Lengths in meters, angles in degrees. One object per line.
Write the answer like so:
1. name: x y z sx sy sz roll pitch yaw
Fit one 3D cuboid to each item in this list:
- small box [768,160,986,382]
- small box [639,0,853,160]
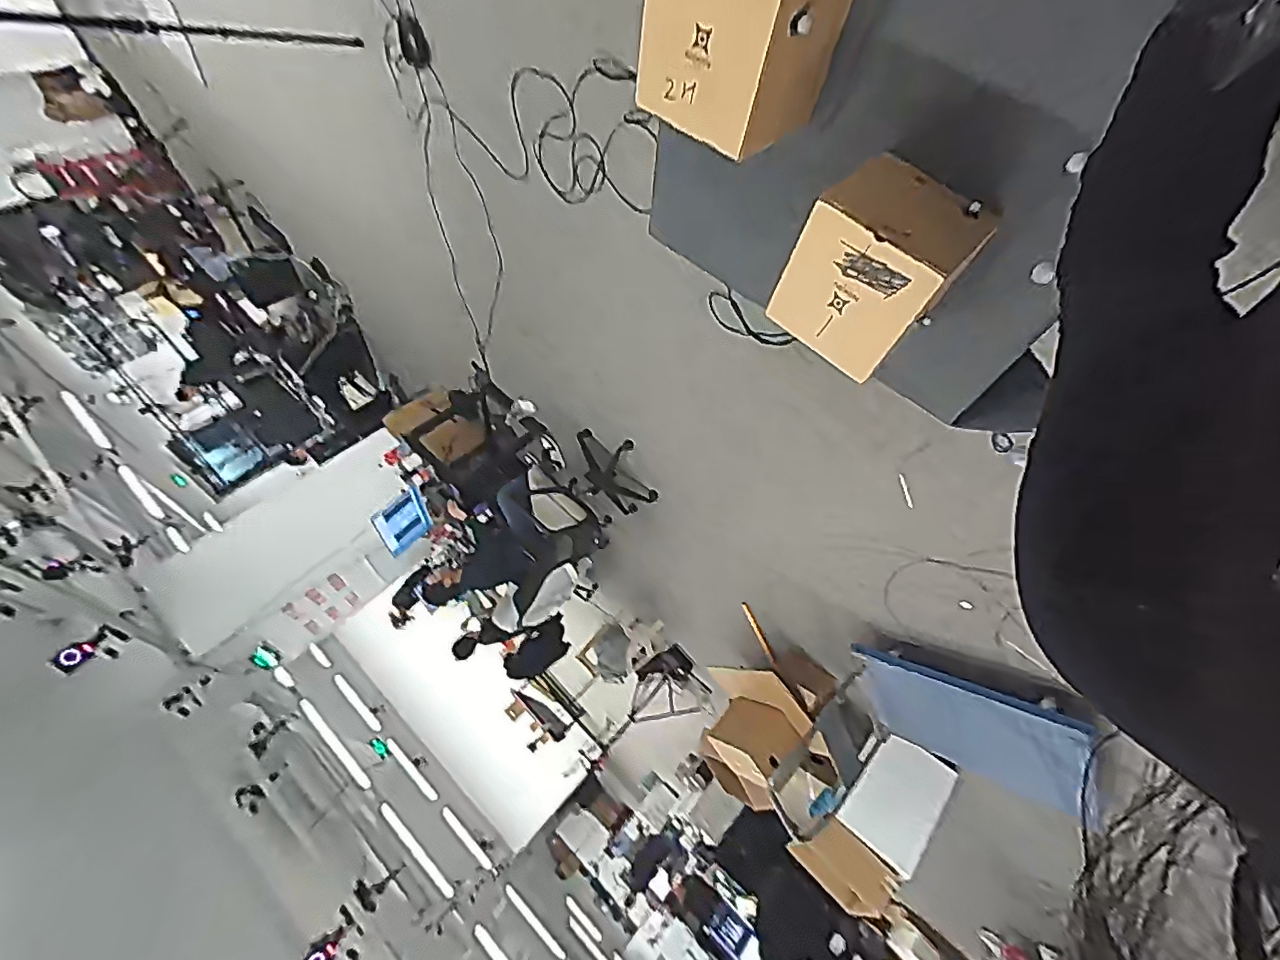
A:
1. small box: 0.301 -0.268 0.690 0.168 0.176 0.179 41 152 14
2. small box: 0.122 -0.518 0.624 0.168 0.176 0.179 39 151 16
